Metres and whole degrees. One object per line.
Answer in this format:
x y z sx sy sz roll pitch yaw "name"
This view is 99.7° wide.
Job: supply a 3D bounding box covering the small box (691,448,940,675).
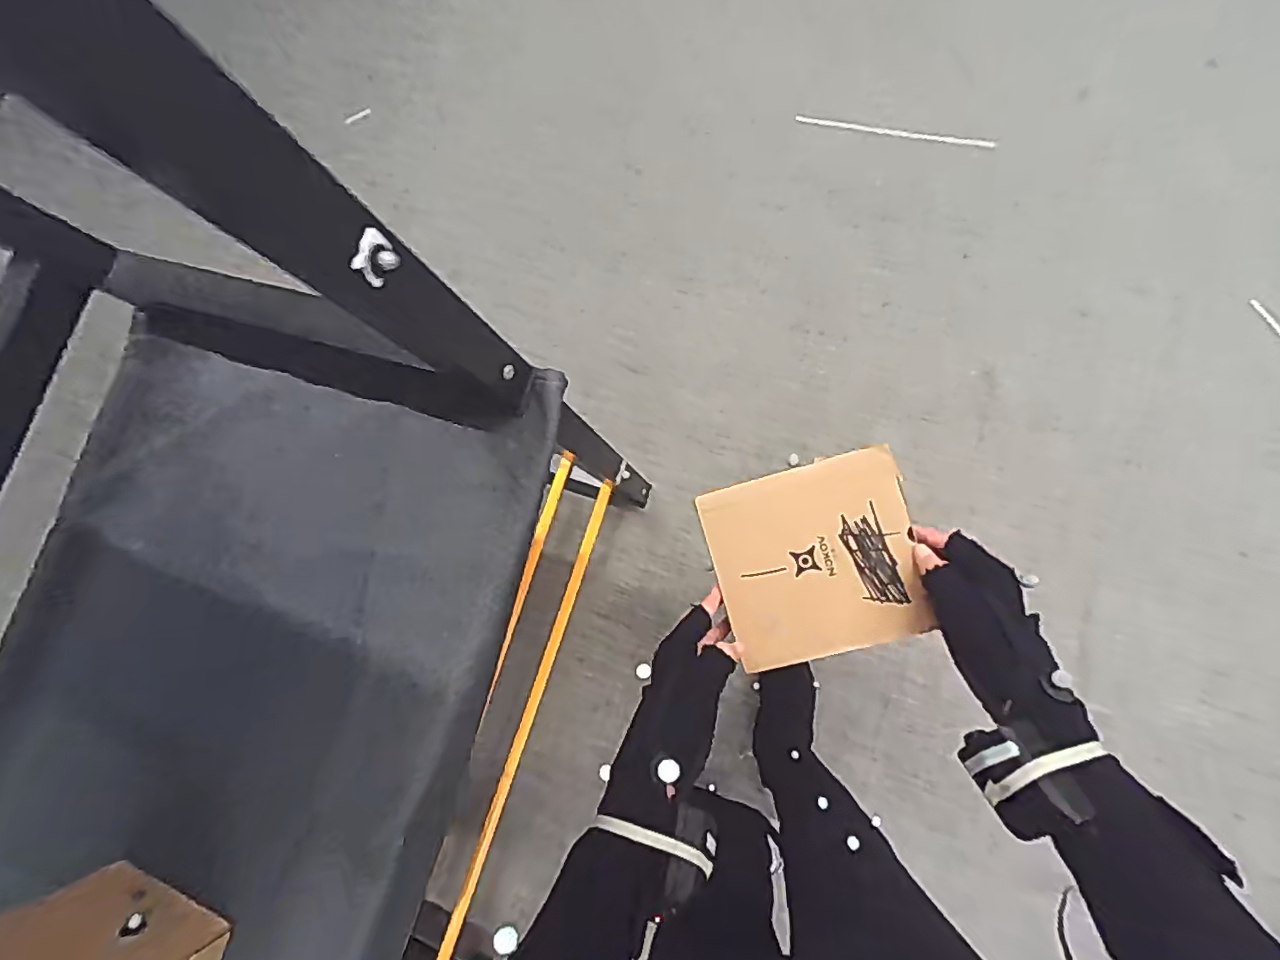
0.160 0.071 0.542 0.179 0.176 0.168 -16 86 10 "small box"
